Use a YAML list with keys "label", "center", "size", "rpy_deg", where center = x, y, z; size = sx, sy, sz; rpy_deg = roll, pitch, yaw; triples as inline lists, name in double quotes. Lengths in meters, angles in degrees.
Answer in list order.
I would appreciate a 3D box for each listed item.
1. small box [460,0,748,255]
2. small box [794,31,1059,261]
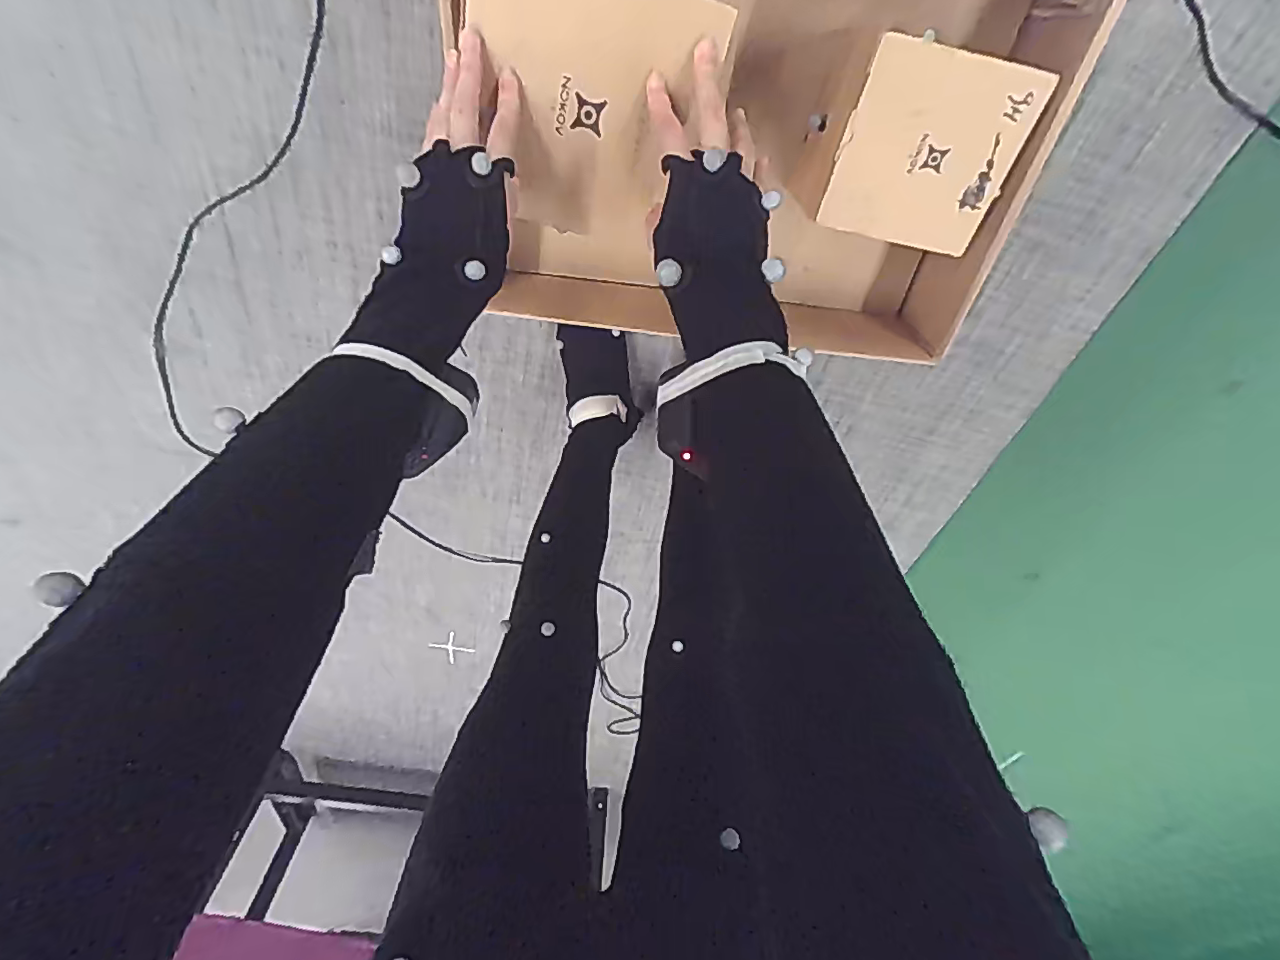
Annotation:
- label: "small box"
  center: [-0.034, -0.316, 0.447]
  size: [0.179, 0.176, 0.168]
  rpy_deg: [13, 130, -11]
- label: "small box"
  center: [0.290, -0.369, 0.601]
  size: [0.179, 0.176, 0.168]
  rpy_deg: [11, 129, -6]
